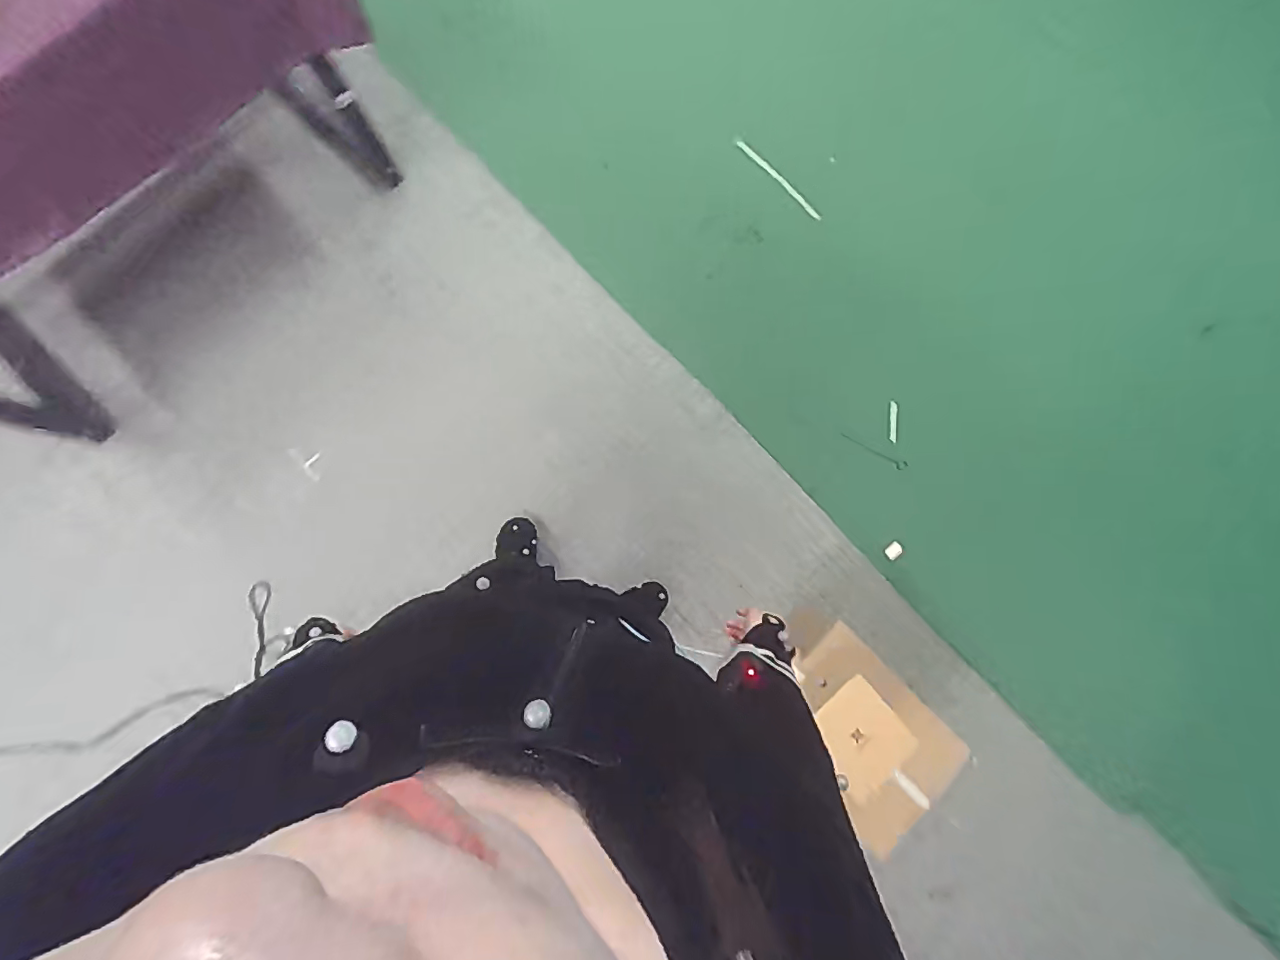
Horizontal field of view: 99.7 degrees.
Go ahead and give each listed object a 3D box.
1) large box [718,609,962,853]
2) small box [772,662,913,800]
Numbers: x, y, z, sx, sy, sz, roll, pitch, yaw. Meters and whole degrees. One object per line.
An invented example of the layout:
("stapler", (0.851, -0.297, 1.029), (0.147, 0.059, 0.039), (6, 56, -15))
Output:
("large box", (0.459, 0.577, 1.334), (0.320, 0.320, 0.408), (-43, 86, -7))
("small box", (0.397, 0.491, 1.096), (0.168, 0.176, 0.179), (-40, 86, -6))
